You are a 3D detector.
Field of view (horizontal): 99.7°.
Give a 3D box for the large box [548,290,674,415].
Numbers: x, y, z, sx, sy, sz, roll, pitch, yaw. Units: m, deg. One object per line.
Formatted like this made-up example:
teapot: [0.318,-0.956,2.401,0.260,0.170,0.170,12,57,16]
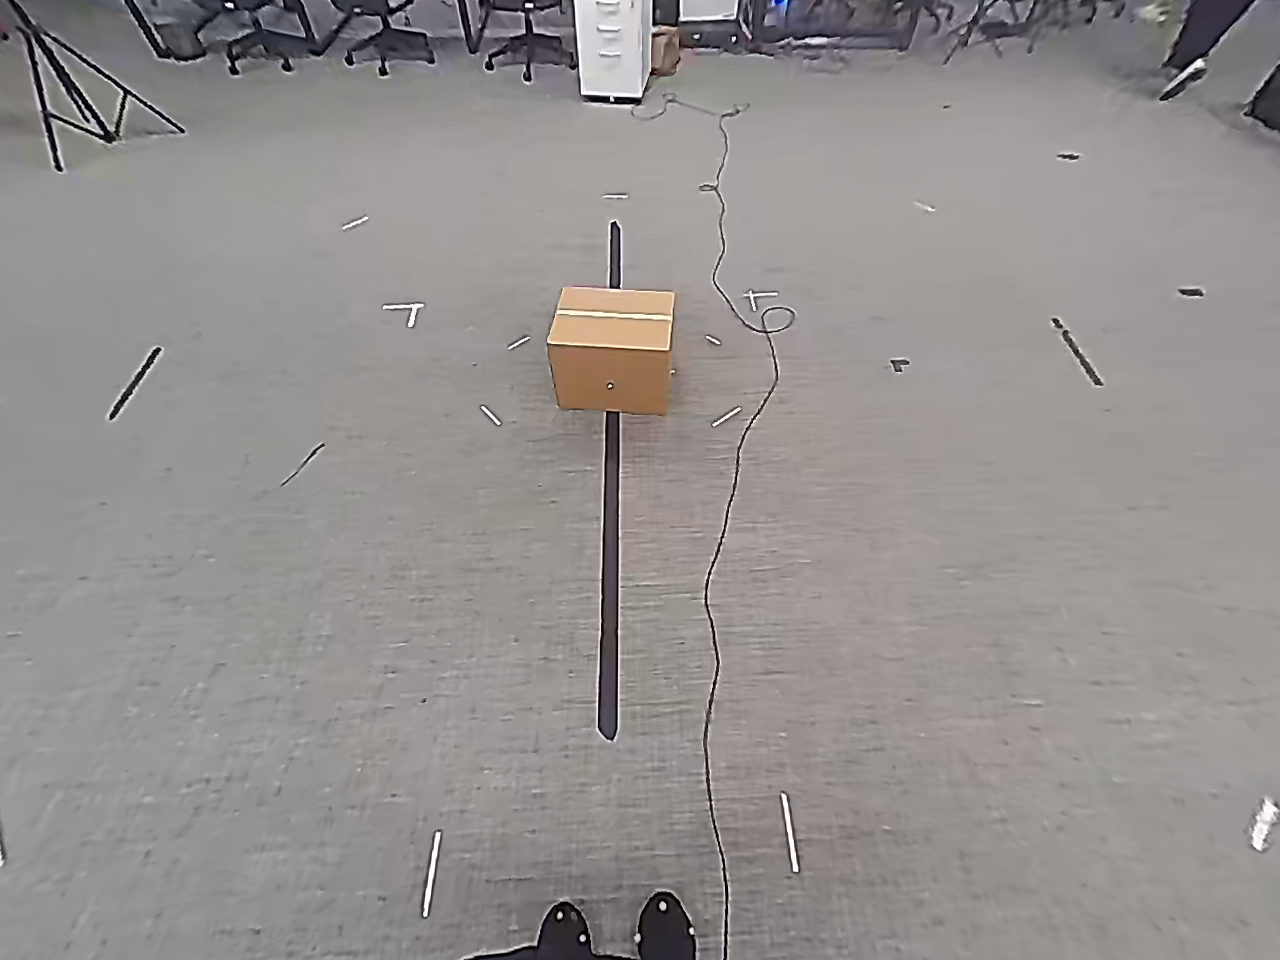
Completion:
large box: [-0.093,-0.456,1.952,0.408,0.320,0.320,5,55,3]
